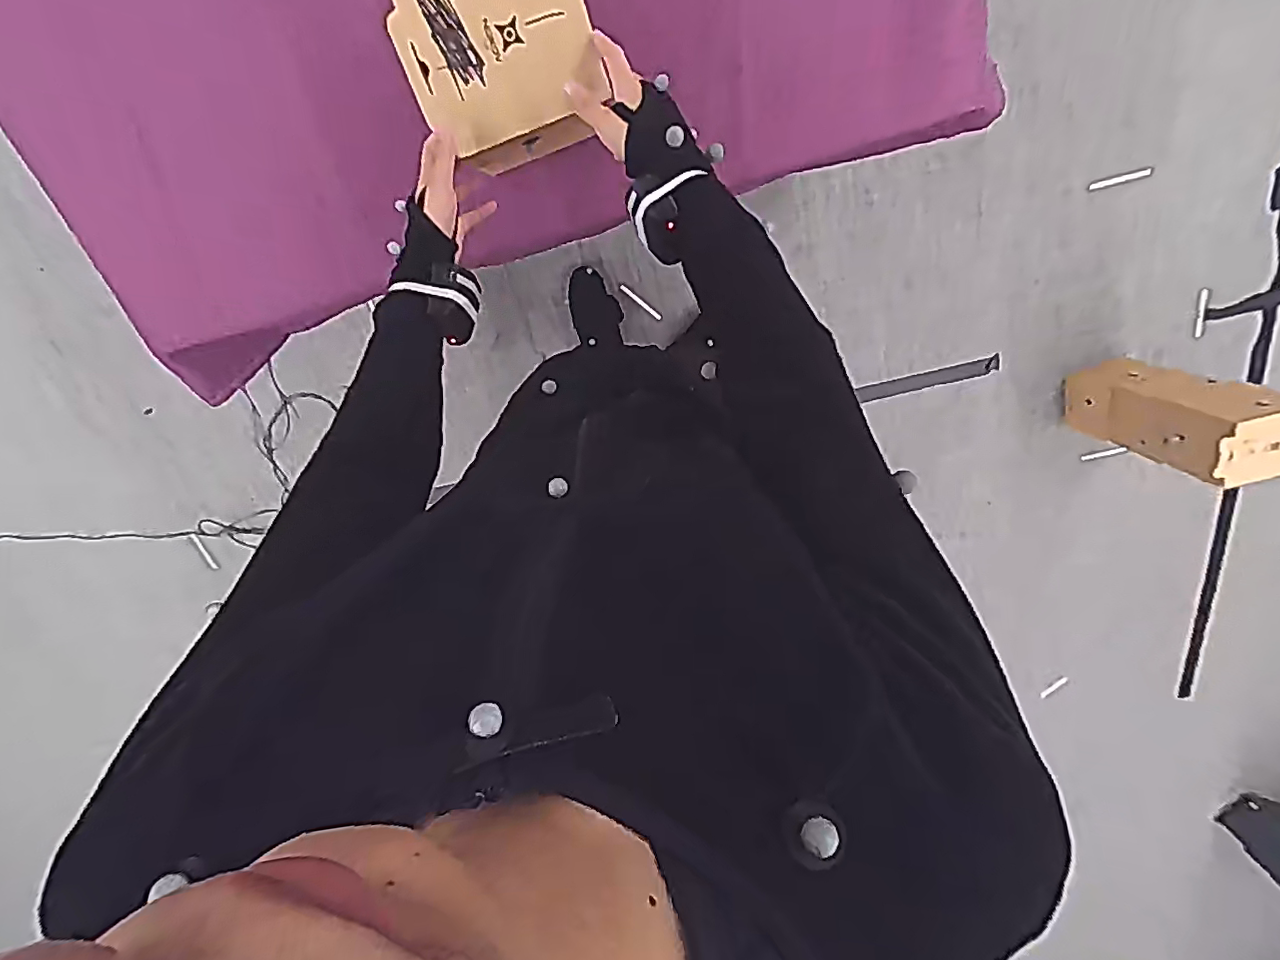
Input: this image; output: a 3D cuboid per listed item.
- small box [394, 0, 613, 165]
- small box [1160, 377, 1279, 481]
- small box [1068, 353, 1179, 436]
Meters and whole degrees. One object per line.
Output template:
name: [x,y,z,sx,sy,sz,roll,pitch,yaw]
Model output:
small box: [-0.135,-0.467,0.592,0.179,0.176,0.168,-18,114,6]
small box: [1.365,-0.122,1.238,0.179,0.176,0.168,-15,116,6]
small box: [1.369,-0.248,1.545,0.179,0.176,0.168,-18,114,6]
